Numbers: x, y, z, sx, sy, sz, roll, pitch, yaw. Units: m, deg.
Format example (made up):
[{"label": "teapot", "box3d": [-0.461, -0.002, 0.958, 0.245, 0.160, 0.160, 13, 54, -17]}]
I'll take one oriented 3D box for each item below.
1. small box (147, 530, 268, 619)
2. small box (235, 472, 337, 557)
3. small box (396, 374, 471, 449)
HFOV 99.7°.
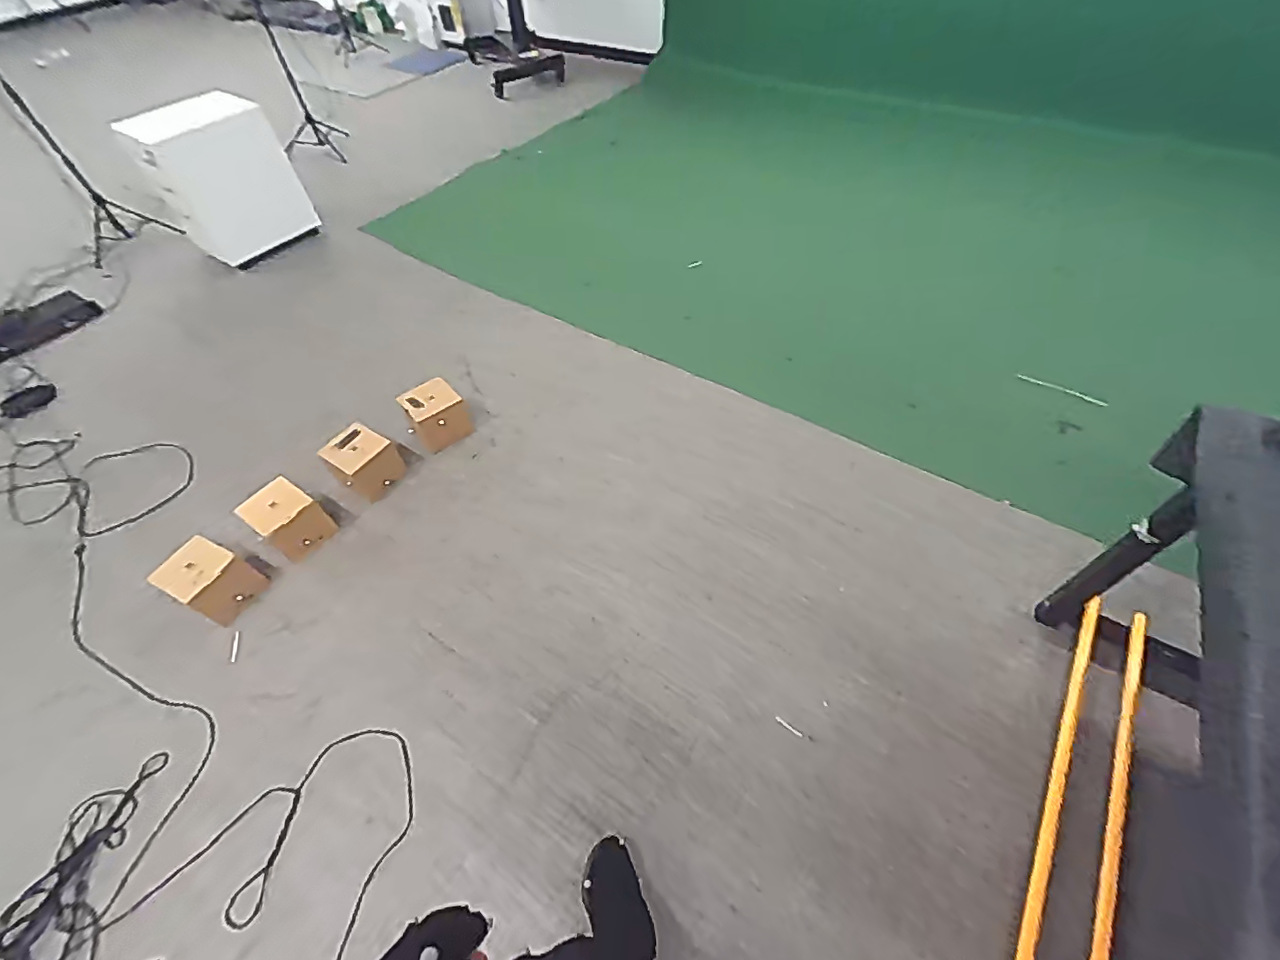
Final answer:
[{"label": "small box", "box3d": [-1.246, 0.280, 1.570, 0.179, 0.176, 0.168, 21, 57, 17]}, {"label": "small box", "box3d": [-1.102, 0.114, 1.693, 0.179, 0.176, 0.168, 28, 59, 21]}, {"label": "small box", "box3d": [-0.739, -0.244, 1.950, 0.179, 0.176, 0.168, -35, 59, -24]}]
